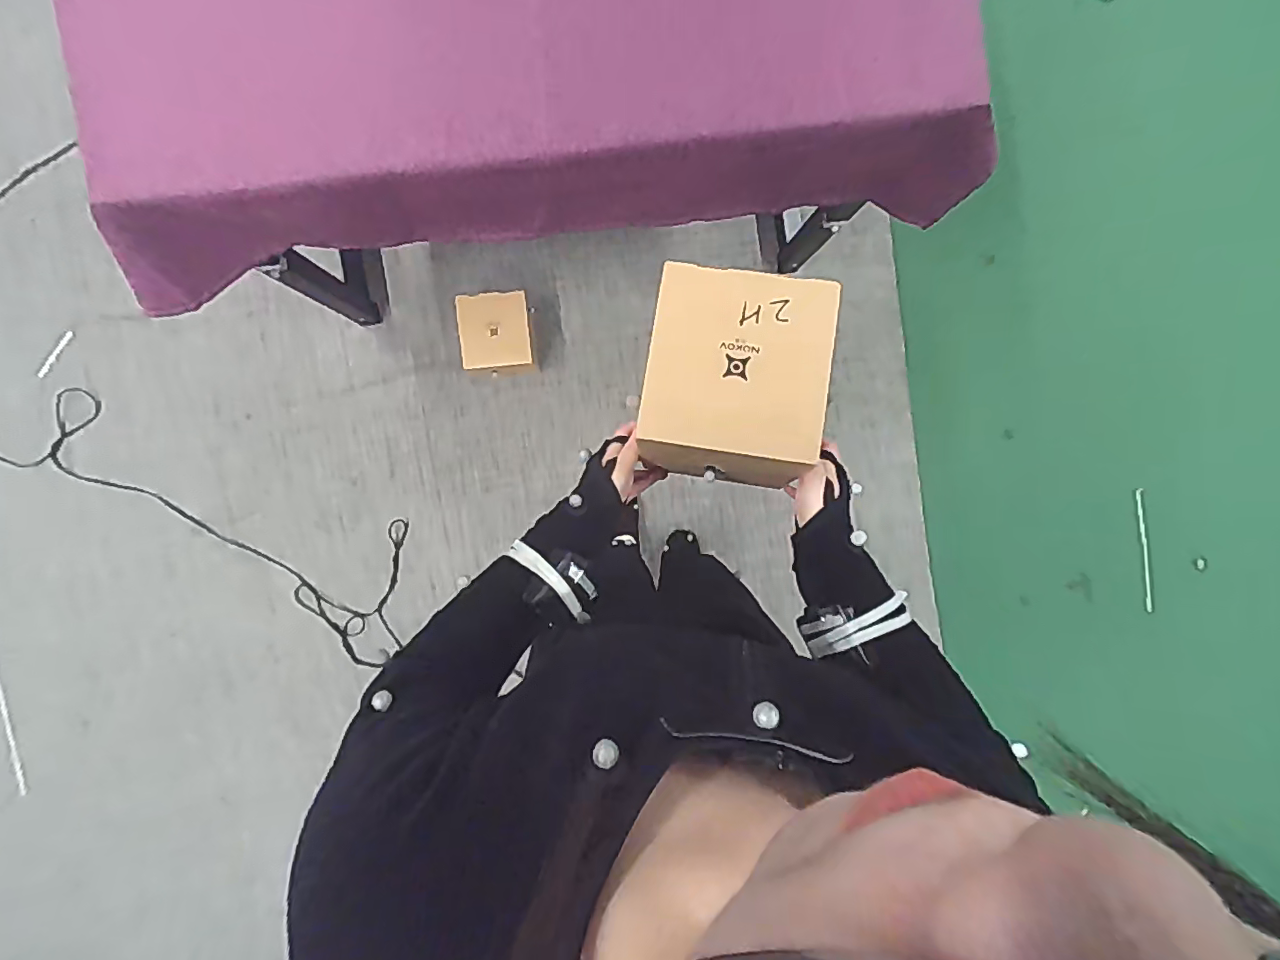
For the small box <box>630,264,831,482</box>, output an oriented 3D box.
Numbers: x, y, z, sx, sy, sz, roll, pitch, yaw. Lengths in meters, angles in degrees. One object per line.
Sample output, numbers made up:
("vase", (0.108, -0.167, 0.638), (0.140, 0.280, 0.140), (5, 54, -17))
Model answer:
("small box", (0.091, -0.101, 0.583), (0.168, 0.176, 0.179), (10, 83, 4))
